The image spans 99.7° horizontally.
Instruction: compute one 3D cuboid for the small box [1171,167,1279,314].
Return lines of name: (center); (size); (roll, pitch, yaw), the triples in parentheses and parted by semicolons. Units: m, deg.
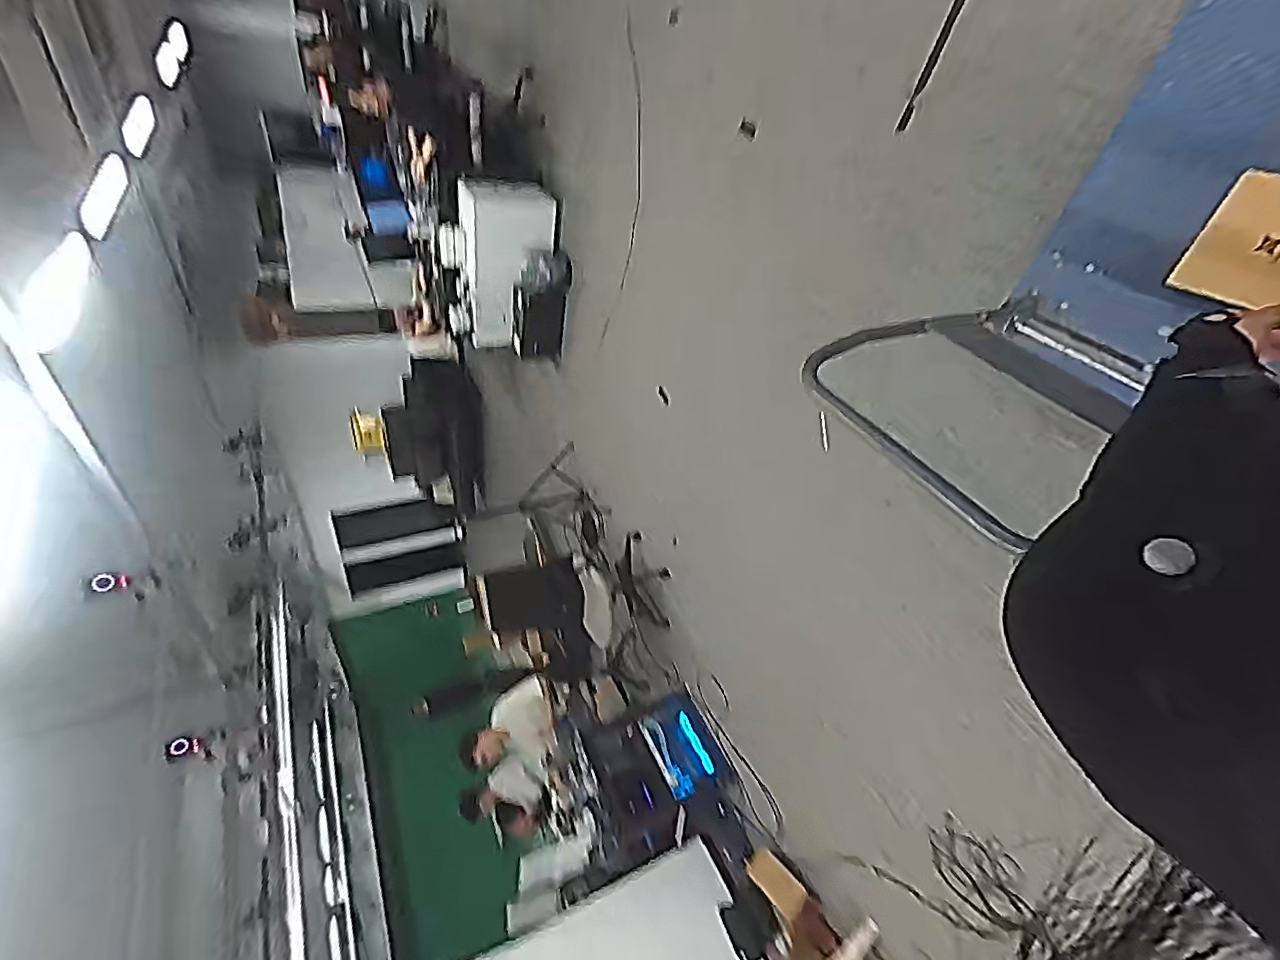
small box: (0.975, -0.350, 0.803); (0.179, 0.176, 0.168); (51, 142, 42)
